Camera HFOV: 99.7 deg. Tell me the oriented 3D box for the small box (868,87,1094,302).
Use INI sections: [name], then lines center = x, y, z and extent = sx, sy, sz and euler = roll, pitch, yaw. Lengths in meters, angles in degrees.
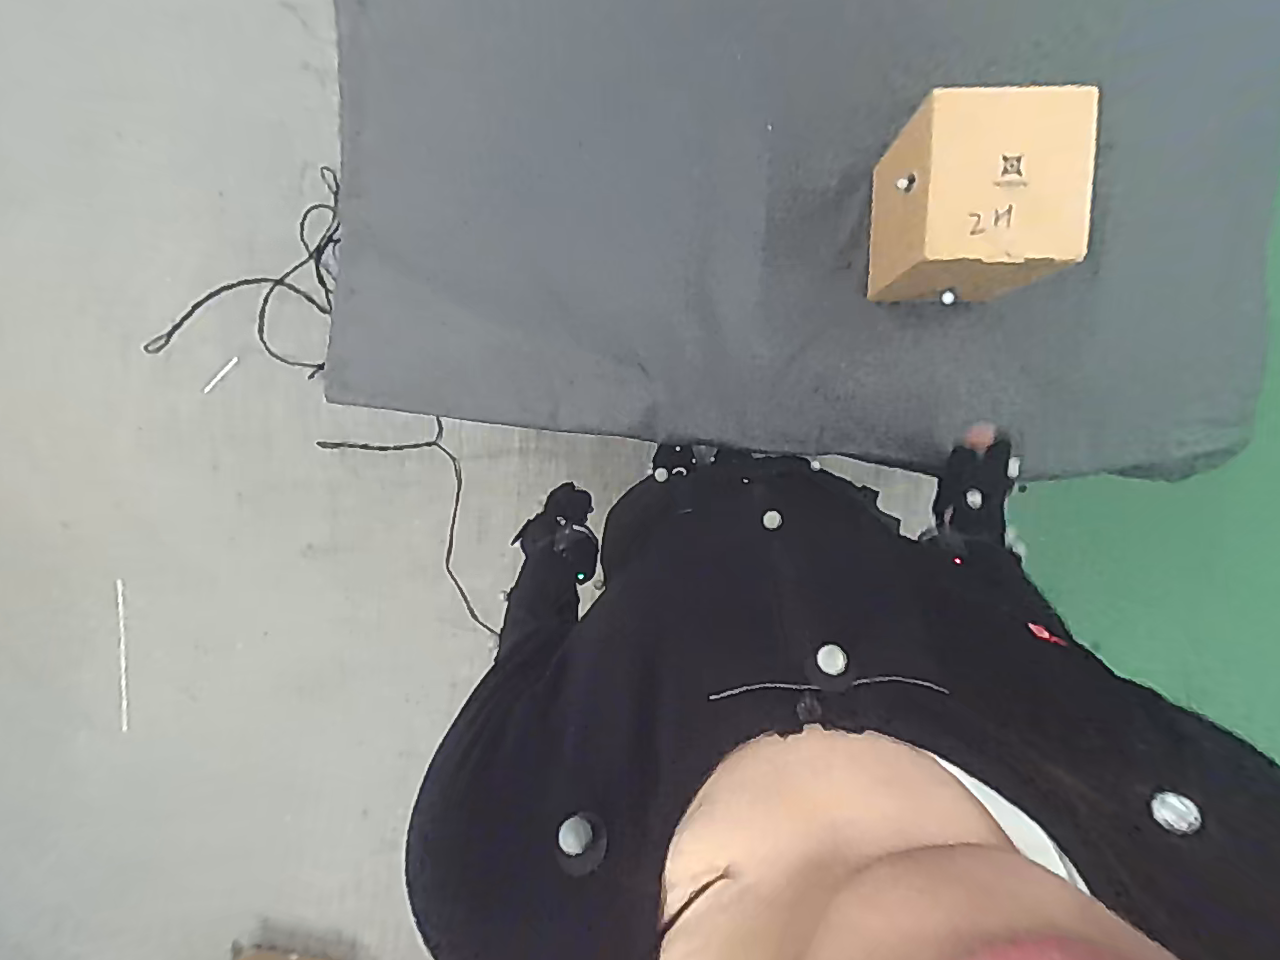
[small box]
center = 0.387, -0.325, 0.645
extent = 0.168, 0.176, 0.179
euler = 2, 94, 4
